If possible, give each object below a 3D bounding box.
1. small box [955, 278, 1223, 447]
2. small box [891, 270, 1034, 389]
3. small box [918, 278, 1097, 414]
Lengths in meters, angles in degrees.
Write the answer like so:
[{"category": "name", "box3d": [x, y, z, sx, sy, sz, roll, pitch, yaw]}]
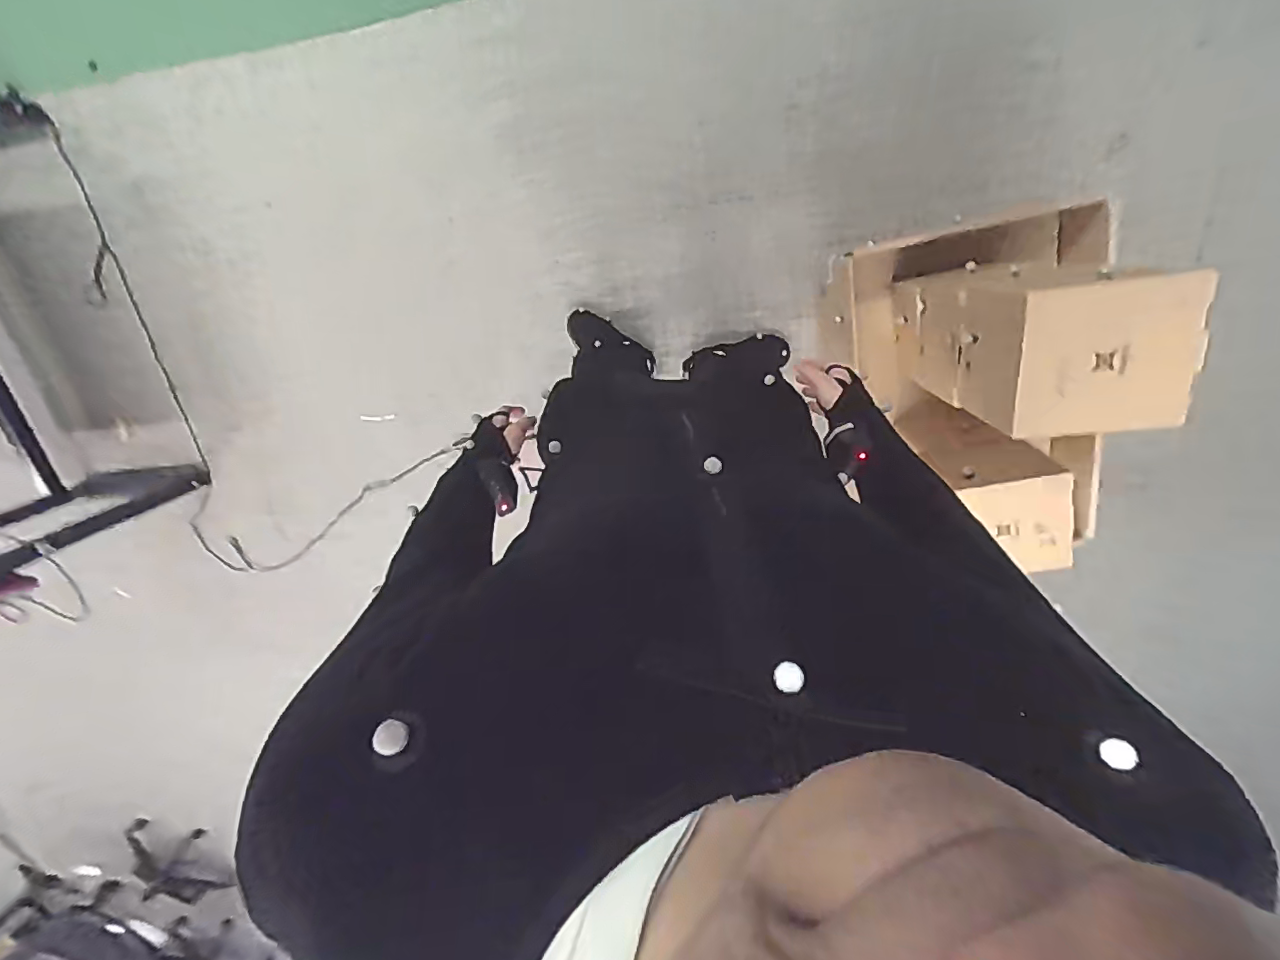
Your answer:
[{"category": "small box", "box3d": [0.514, -0.147, 0.653, 0.179, 0.176, 0.168, -3, 111, 10]}, {"category": "small box", "box3d": [0.555, -0.266, 0.955, 0.179, 0.176, 0.168, -9, 109, 11]}, {"category": "small box", "box3d": [0.533, -0.204, 0.805, 0.179, 0.176, 0.168, -5, 111, 9]}]
